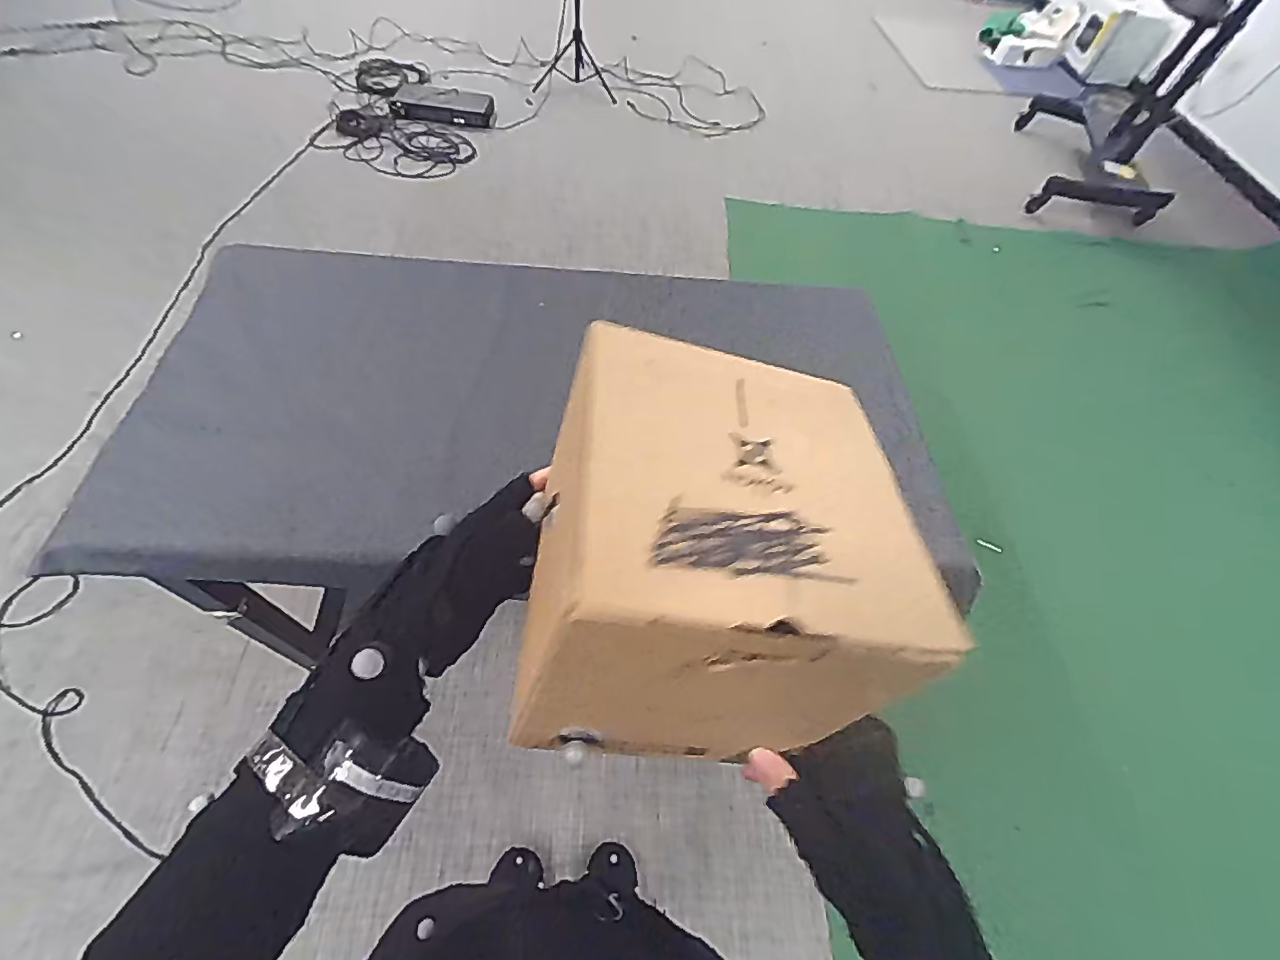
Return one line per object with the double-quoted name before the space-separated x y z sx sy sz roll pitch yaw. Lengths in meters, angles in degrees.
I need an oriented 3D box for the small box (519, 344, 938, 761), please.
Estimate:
"small box" 0.027 0.053 0.325 0.168 0.176 0.179 12 47 -13
